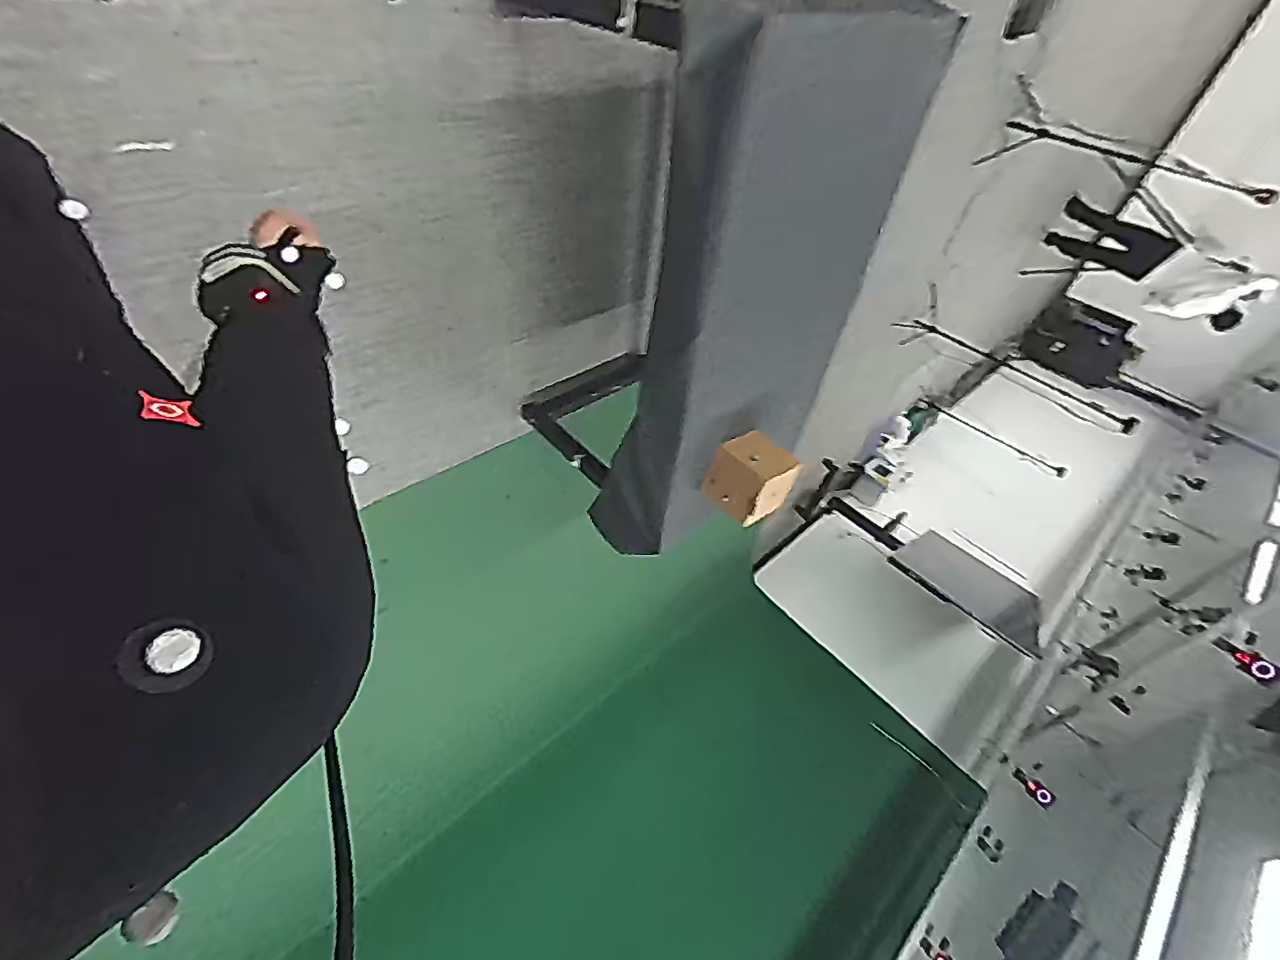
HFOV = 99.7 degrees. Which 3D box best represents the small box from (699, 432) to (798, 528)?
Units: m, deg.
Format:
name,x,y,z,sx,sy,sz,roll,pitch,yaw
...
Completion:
name,x,y,z,sx,sy,sz,roll,pitch,yaw
small box,0.288,-0.006,1.467,0.179,0.176,0.168,-24,145,-41
